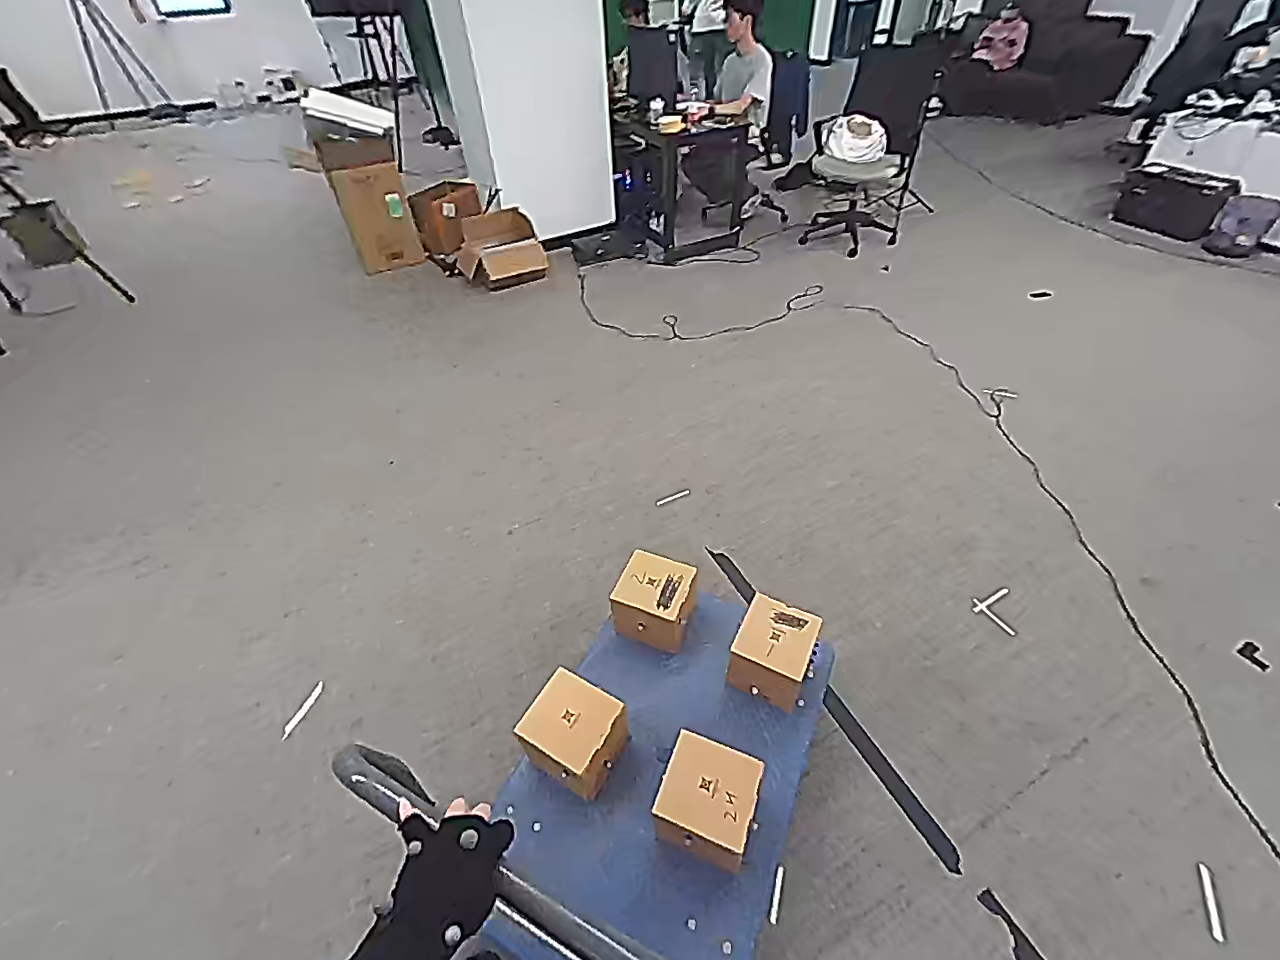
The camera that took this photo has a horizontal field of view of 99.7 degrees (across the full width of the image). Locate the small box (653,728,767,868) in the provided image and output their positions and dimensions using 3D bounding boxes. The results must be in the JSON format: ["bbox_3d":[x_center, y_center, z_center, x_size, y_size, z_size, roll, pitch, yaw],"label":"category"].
[{"bbox_3d":[0.138,0.636,1.076,0.179,0.176,0.168,16,48,19],"label":"small box"}]

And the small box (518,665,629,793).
[{"bbox_3d":[-0.138,0.549,1.186,0.179,0.176,0.168,22,50,22],"label":"small box"}]

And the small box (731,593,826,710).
[{"bbox_3d":[0.325,0.410,1.294,0.168,0.176,0.179,20,50,22],"label":"small box"}]
